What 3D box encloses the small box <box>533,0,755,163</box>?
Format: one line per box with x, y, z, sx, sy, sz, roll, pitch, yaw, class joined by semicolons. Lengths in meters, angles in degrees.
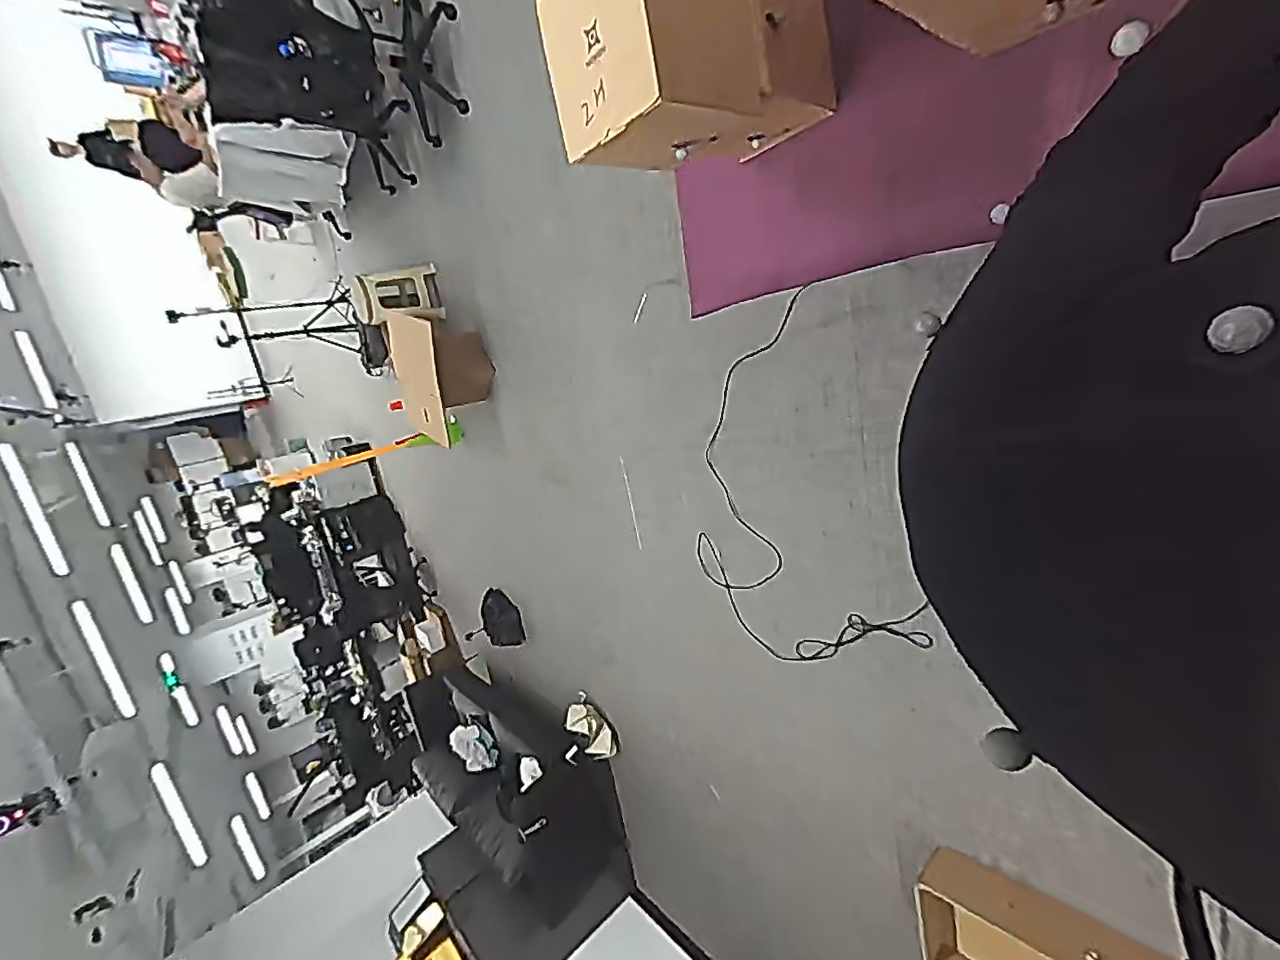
0.009;-0.485;0.616;0.168;0.176;0.179;5;112;49;small box

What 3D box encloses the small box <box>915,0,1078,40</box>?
0.350;-0.518;0.461;0.168;0.176;0.179;5;111;51;small box

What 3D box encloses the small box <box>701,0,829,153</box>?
0.125;-0.558;0.710;0.168;0.176;0.179;2;110;50;small box
